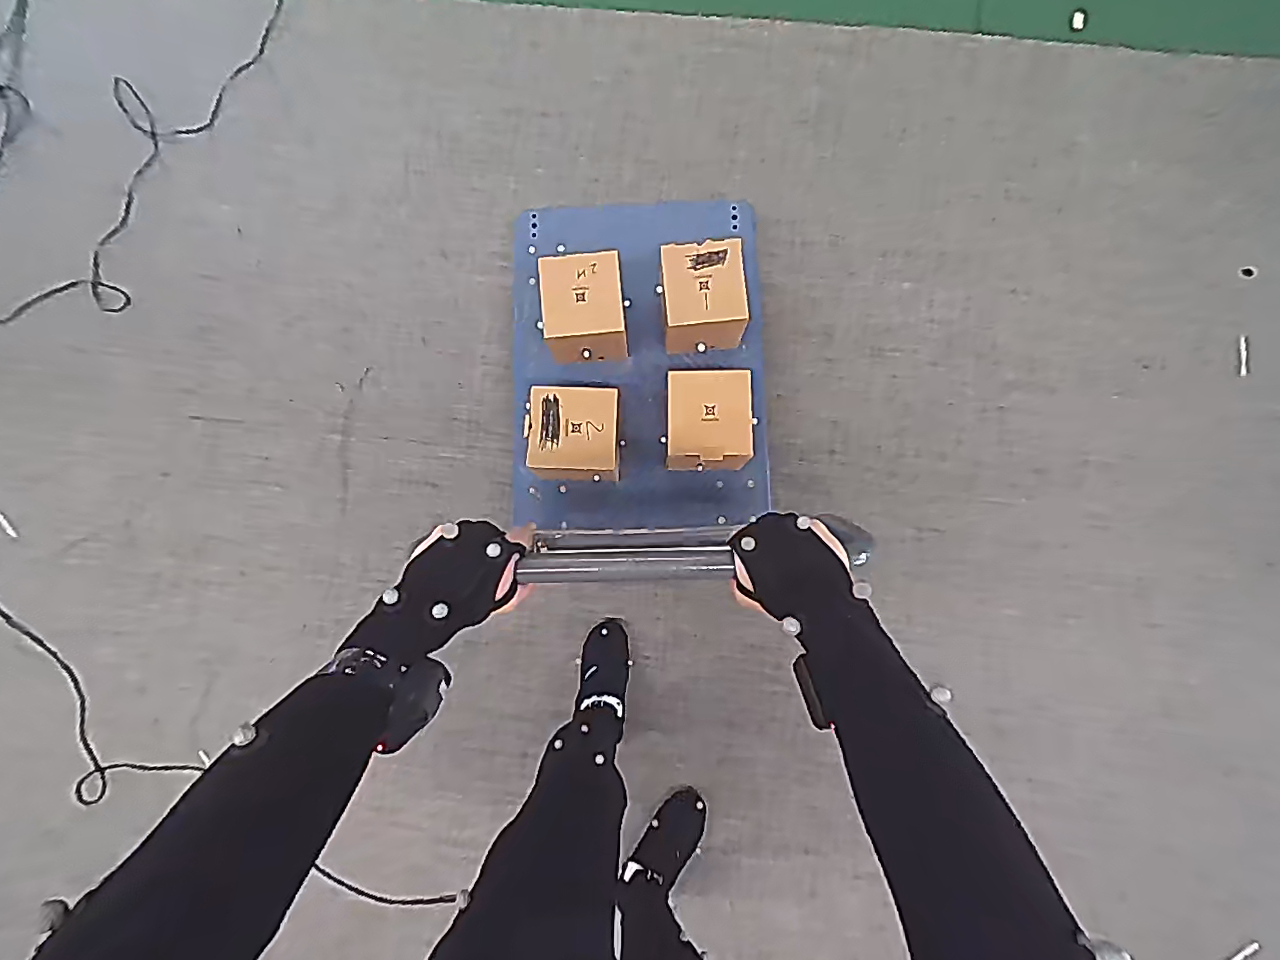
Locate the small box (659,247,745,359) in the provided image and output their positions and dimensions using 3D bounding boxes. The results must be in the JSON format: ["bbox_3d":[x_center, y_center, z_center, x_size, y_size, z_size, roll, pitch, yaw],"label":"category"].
[{"bbox_3d":[0.130,-0.384,1.196,0.168,0.176,0.179,-5,83,2],"label":"small box"}]

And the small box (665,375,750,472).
[{"bbox_3d":[0.138,-0.116,1.162,0.168,0.176,0.179,-1,83,1],"label":"small box"}]

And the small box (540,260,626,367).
[{"bbox_3d":[-0.120,-0.359,1.199,0.168,0.176,0.179,-5,83,0],"label":"small box"}]
